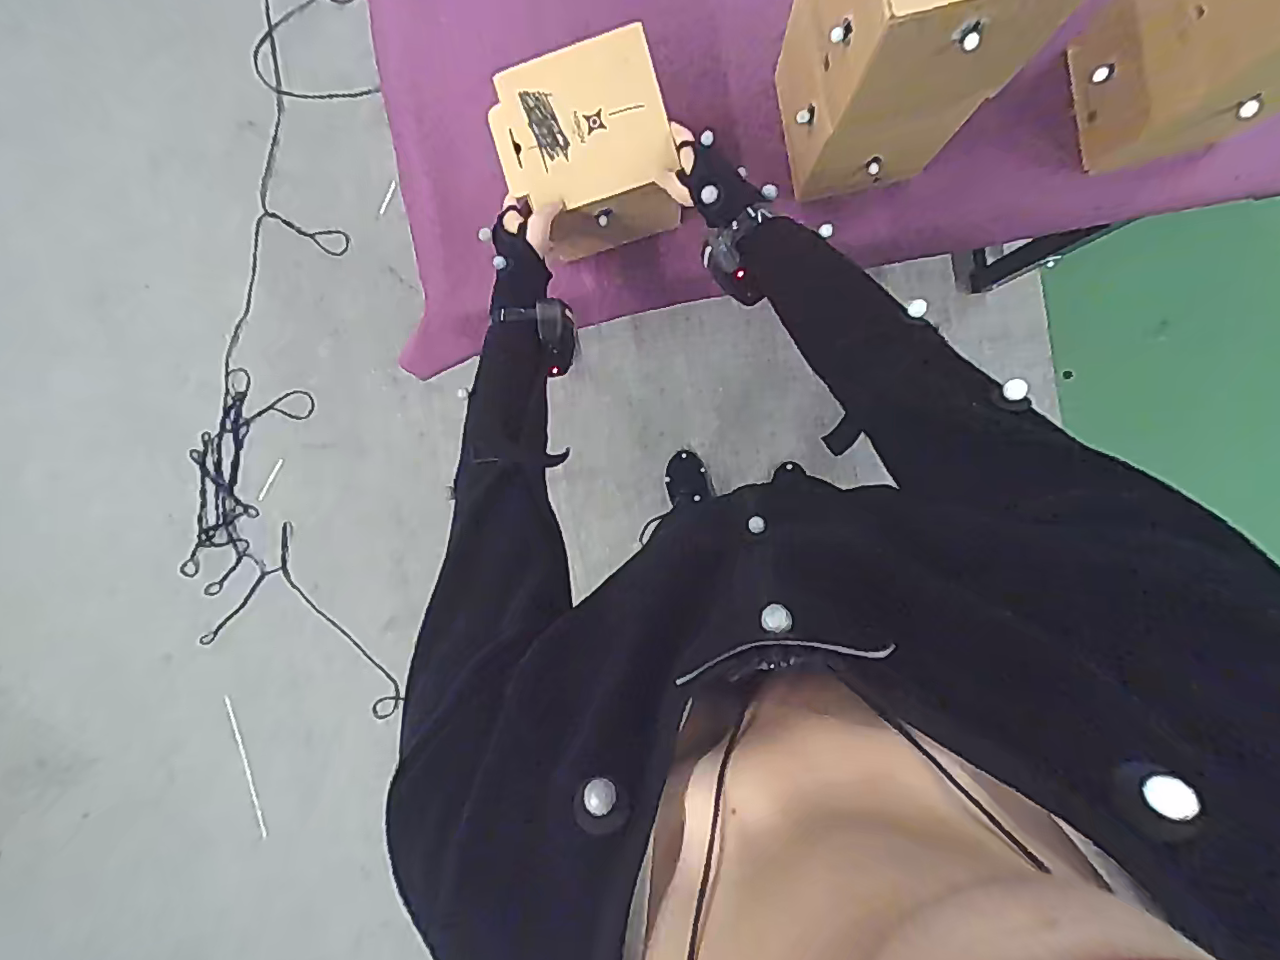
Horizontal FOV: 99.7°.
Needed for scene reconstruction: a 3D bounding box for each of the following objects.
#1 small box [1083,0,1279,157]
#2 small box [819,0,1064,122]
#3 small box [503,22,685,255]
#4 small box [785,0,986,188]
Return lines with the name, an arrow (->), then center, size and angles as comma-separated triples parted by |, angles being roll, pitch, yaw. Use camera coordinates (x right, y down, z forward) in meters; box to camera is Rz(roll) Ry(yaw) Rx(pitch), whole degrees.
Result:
small box -> 0.657, -0.503, 0.608 | 0.179, 0.176, 0.168 | -12, 94, 8
small box -> 0.269, -0.463, 0.486 | 0.179, 0.176, 0.168 | -11, 94, 6
small box -> -0.045, -0.410, 0.685 | 0.179, 0.176, 0.168 | -16, 95, 6
small box -> 0.279, -0.479, 0.648 | 0.168, 0.176, 0.179 | -10, 92, 7
